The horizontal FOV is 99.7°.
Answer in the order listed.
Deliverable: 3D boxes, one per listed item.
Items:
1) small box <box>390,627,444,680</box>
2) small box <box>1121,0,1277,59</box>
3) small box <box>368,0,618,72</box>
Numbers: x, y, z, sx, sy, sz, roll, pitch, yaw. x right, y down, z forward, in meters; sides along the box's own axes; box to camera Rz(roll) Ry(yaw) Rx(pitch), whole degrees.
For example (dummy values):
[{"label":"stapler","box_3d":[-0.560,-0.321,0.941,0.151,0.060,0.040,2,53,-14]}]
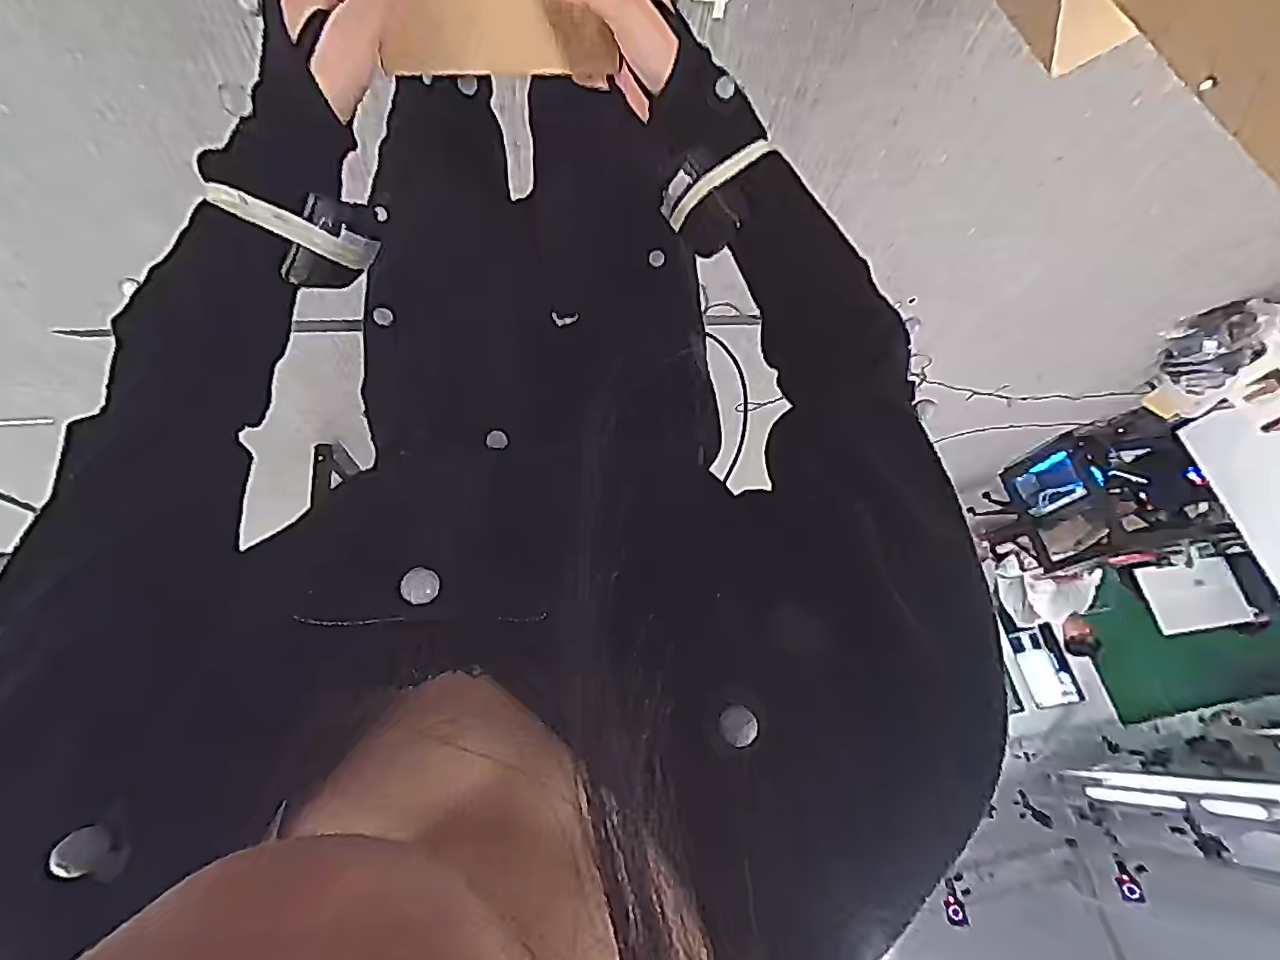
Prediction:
[{"label":"small box","box_3d":[-0.821,0.650,2.006,0.168,0.176,0.179,-4,155,-14]},{"label":"small box","box_3d":[0.726,-0.696,0.667,0.168,0.176,0.179,-21,155,26]},{"label":"small box","box_3d":[-0.119,-0.406,0.385,0.168,0.176,0.179,-13,130,-14]}]
